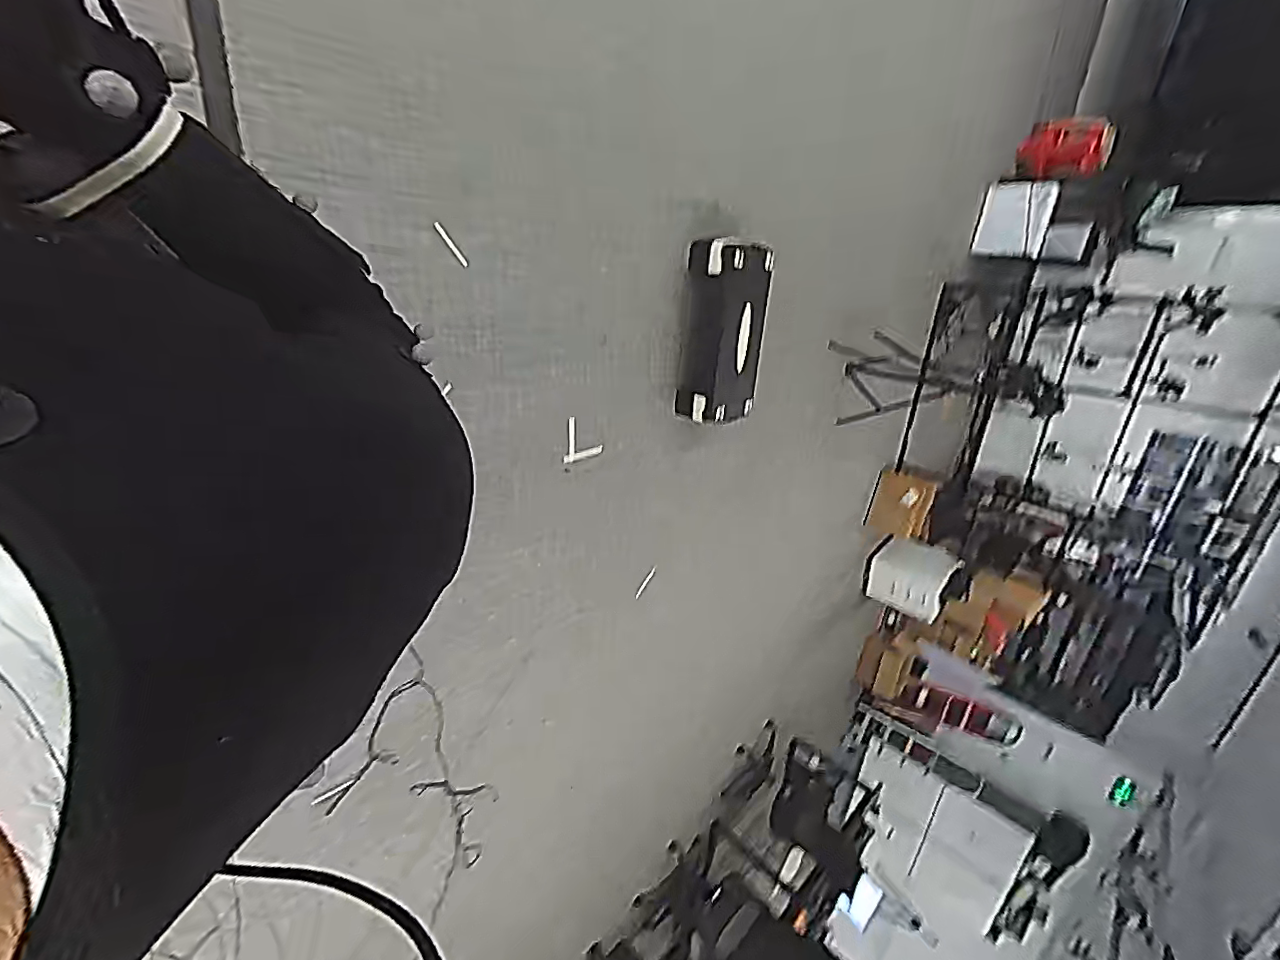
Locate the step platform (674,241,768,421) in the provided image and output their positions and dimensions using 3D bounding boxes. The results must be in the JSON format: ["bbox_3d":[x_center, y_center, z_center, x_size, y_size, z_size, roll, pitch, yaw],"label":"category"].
[{"bbox_3d":[0.322,-0.577,2.151,0.286,0.204,0.684,-18,120,-43],"label":"step platform"}]
